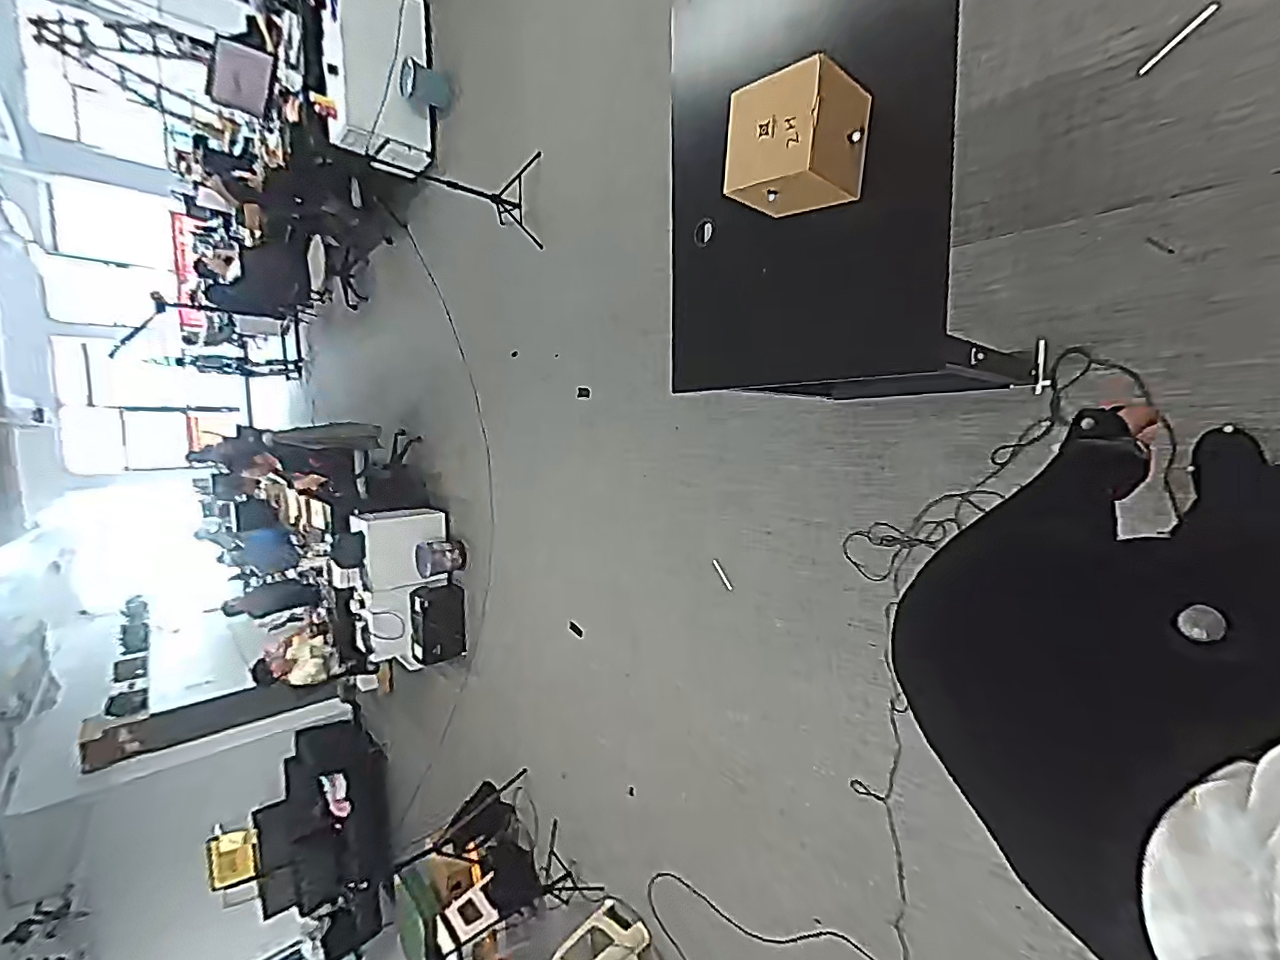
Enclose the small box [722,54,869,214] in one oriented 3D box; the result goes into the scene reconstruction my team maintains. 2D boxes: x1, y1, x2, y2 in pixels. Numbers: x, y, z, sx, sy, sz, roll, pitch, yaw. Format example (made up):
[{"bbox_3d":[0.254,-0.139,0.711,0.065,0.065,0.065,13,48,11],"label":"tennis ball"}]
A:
[{"bbox_3d":[0.267,-0.580,0.938,0.179,0.176,0.168,14,105,47],"label":"small box"}]
